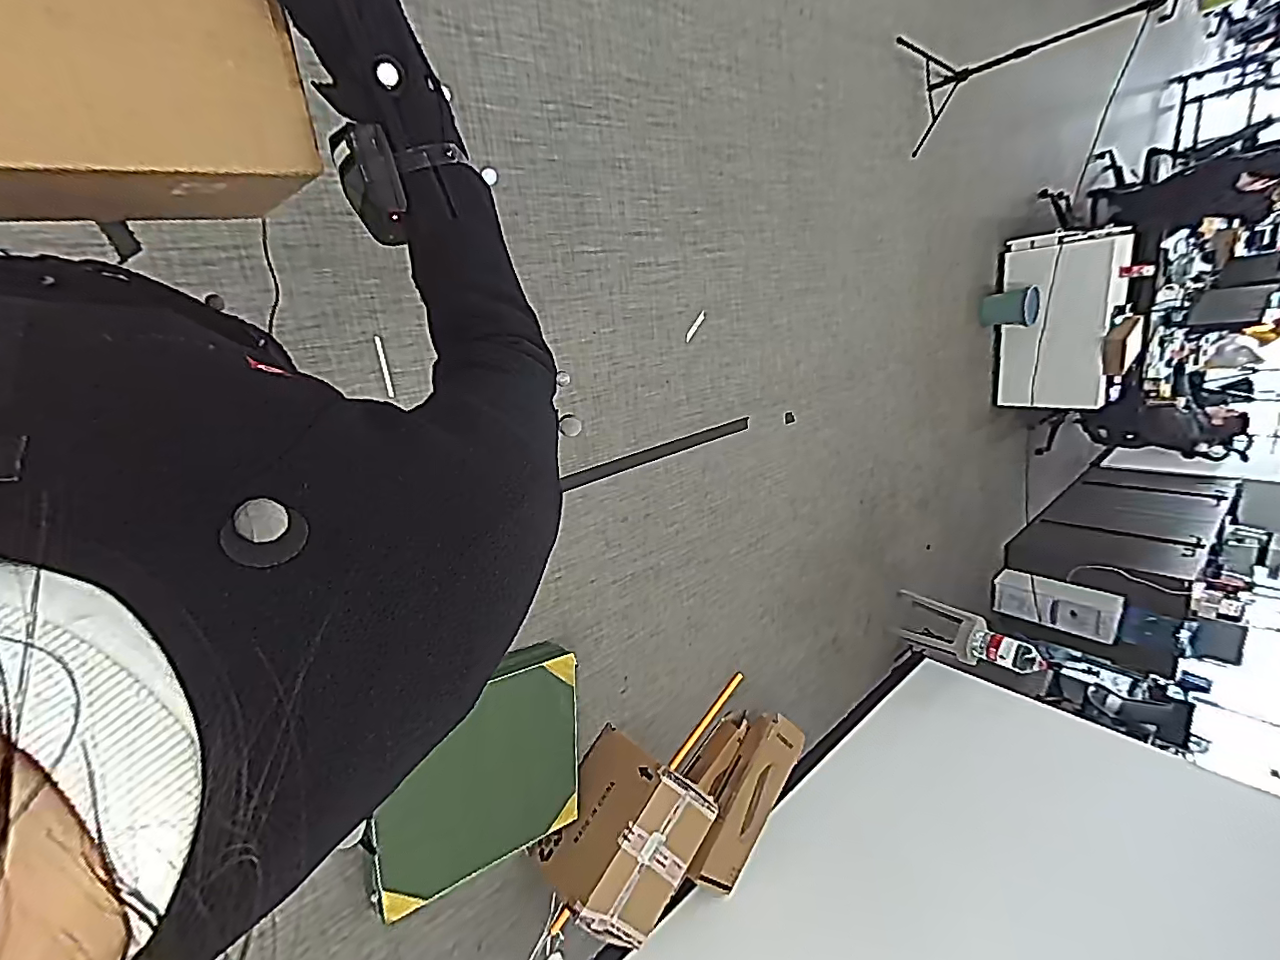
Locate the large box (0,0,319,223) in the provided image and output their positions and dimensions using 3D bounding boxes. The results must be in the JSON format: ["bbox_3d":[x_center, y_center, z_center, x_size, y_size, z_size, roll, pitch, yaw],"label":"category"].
[{"bbox_3d":[-0.489,-0.335,0.323,0.408,0.320,0.320,-23,120,-36],"label":"large box"}]
